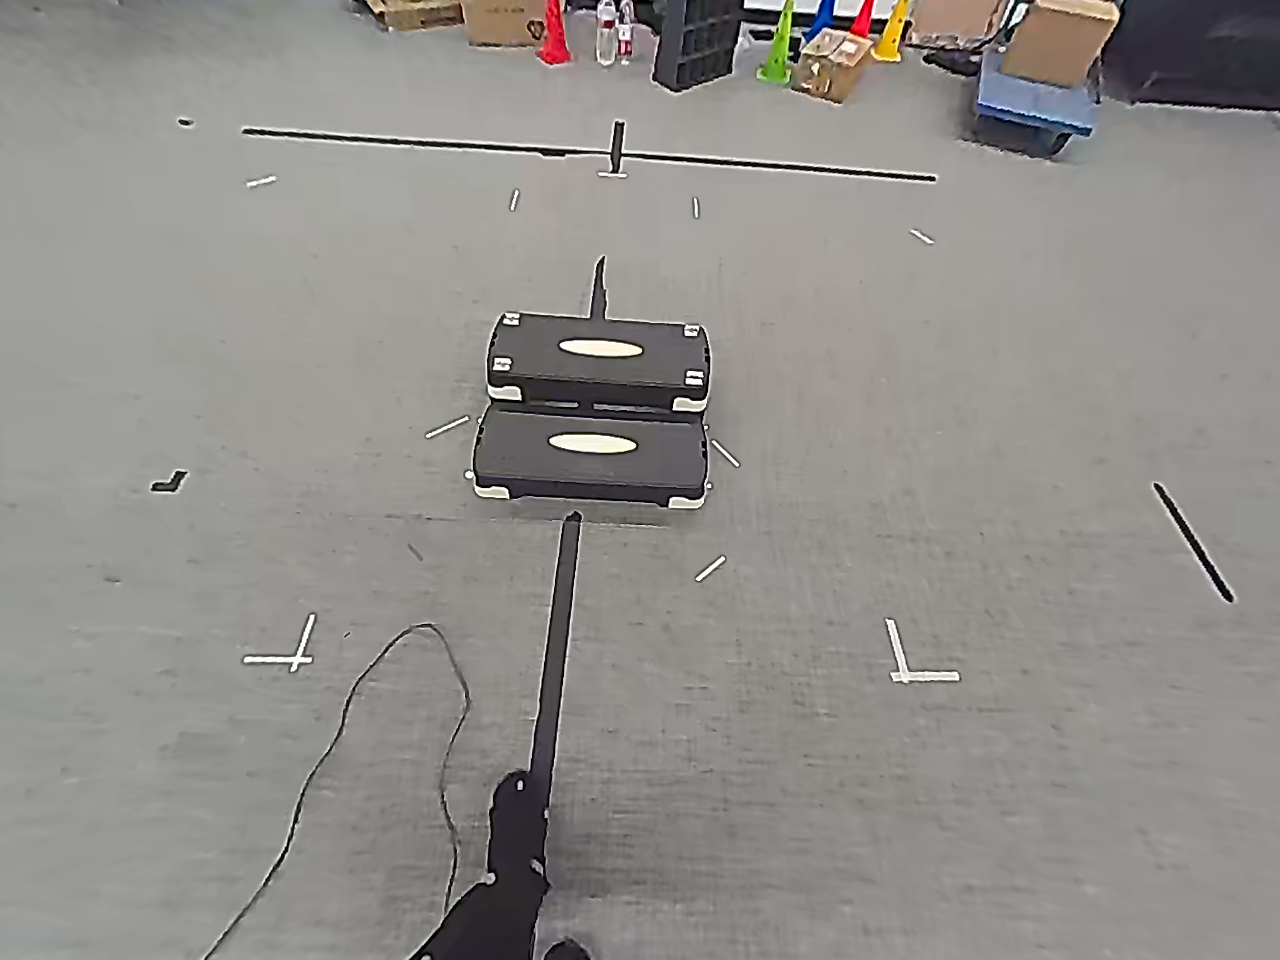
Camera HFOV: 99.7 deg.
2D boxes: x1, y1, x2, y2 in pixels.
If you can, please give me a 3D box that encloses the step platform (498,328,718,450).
[{"bbox_3d":[-0.095,-0.292,1.722,0.684,0.204,0.286,7,55,0],"label":"step platform"}]
